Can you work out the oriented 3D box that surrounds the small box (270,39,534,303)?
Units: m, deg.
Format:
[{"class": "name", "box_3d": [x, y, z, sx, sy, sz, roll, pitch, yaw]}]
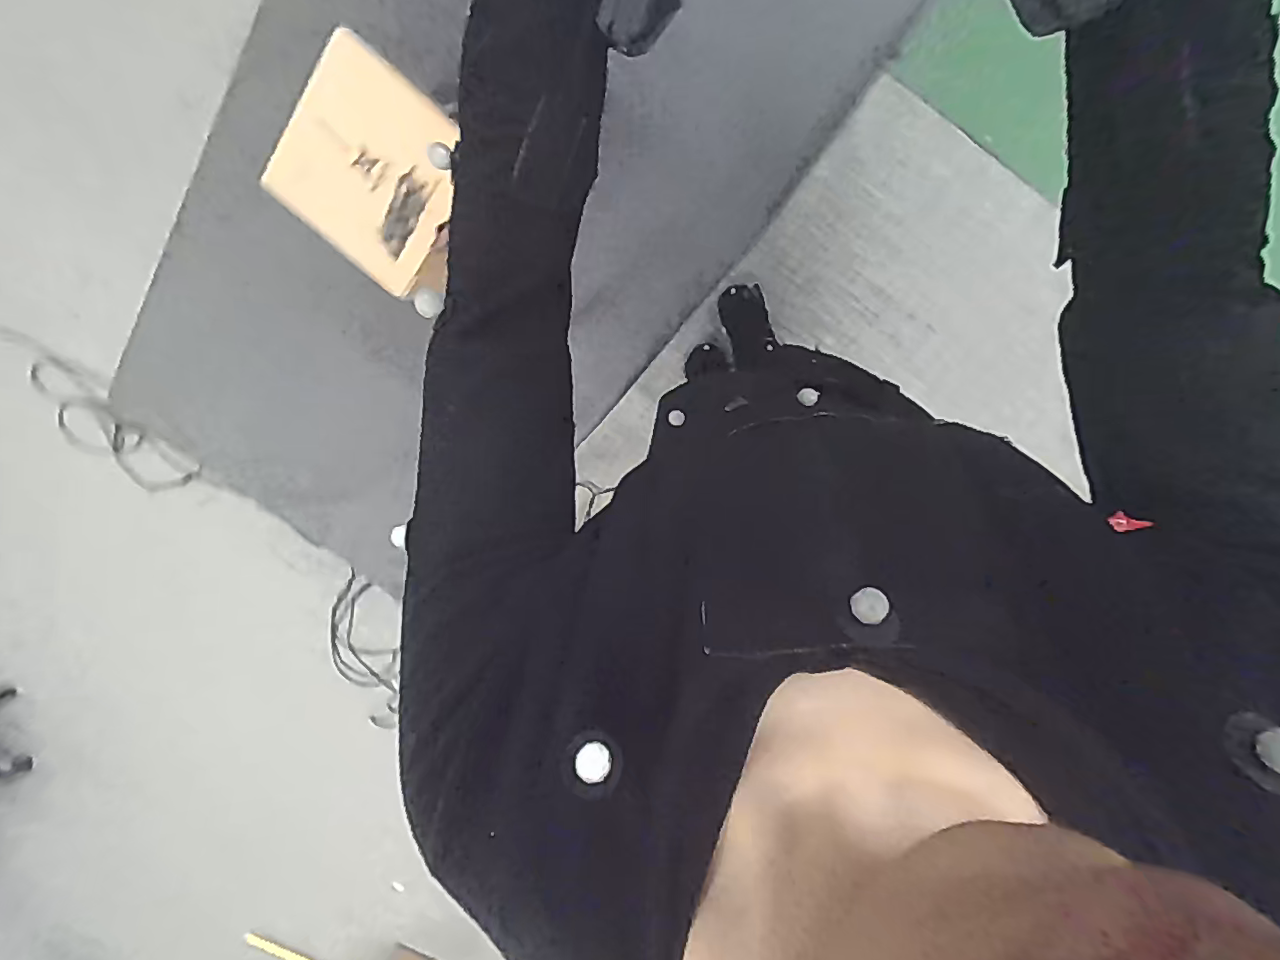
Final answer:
[{"class": "small box", "box_3d": [-0.247, -0.319, 0.603, 0.179, 0.176, 0.168, 40, 107, -5]}]
